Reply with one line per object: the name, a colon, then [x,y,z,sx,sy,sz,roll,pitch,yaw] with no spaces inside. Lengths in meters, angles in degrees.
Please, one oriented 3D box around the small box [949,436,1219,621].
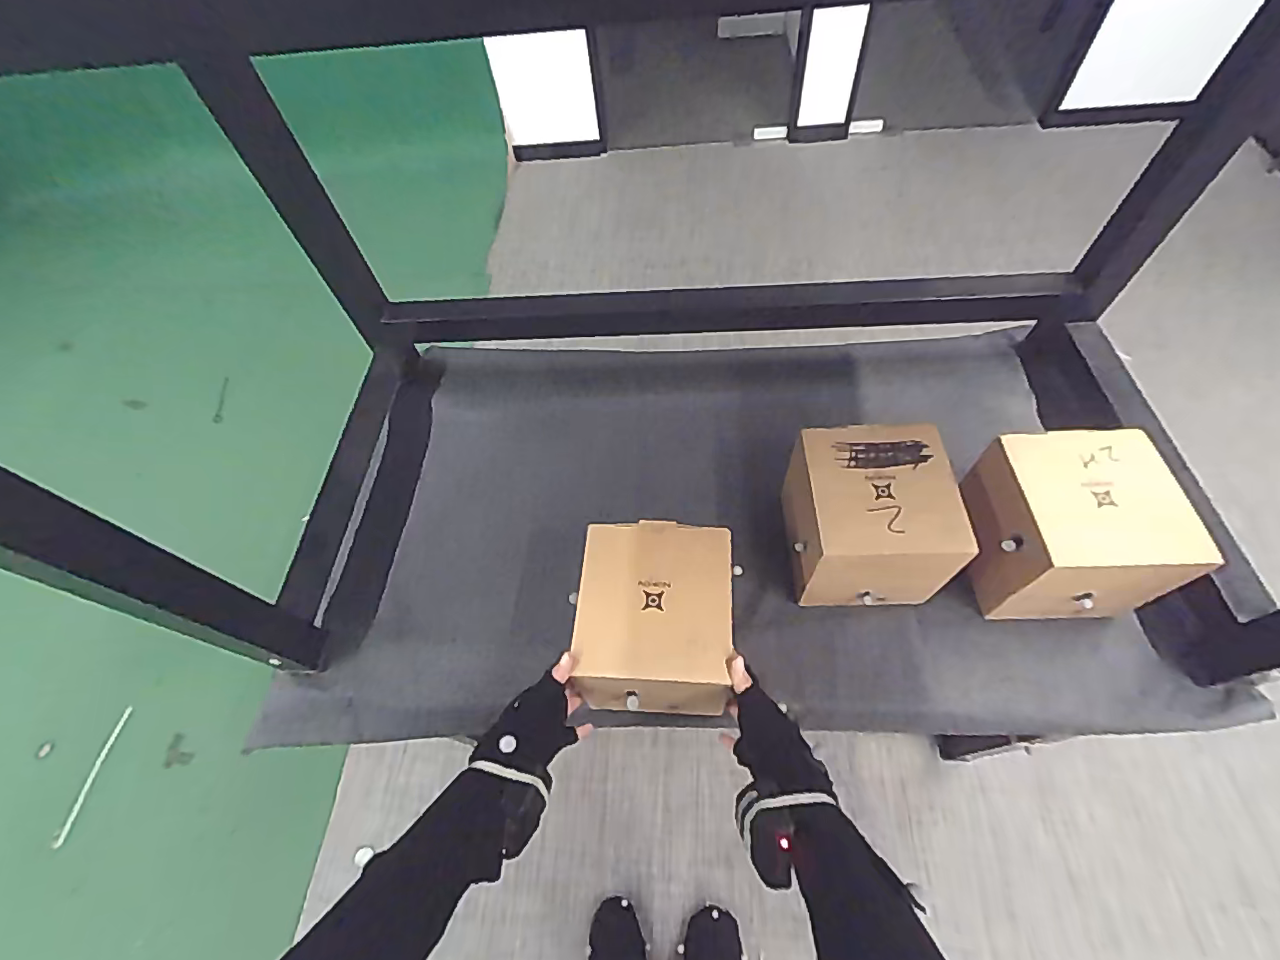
small box: [0.518,0.067,0.667,0.168,0.176,0.179,-2,56,4]
